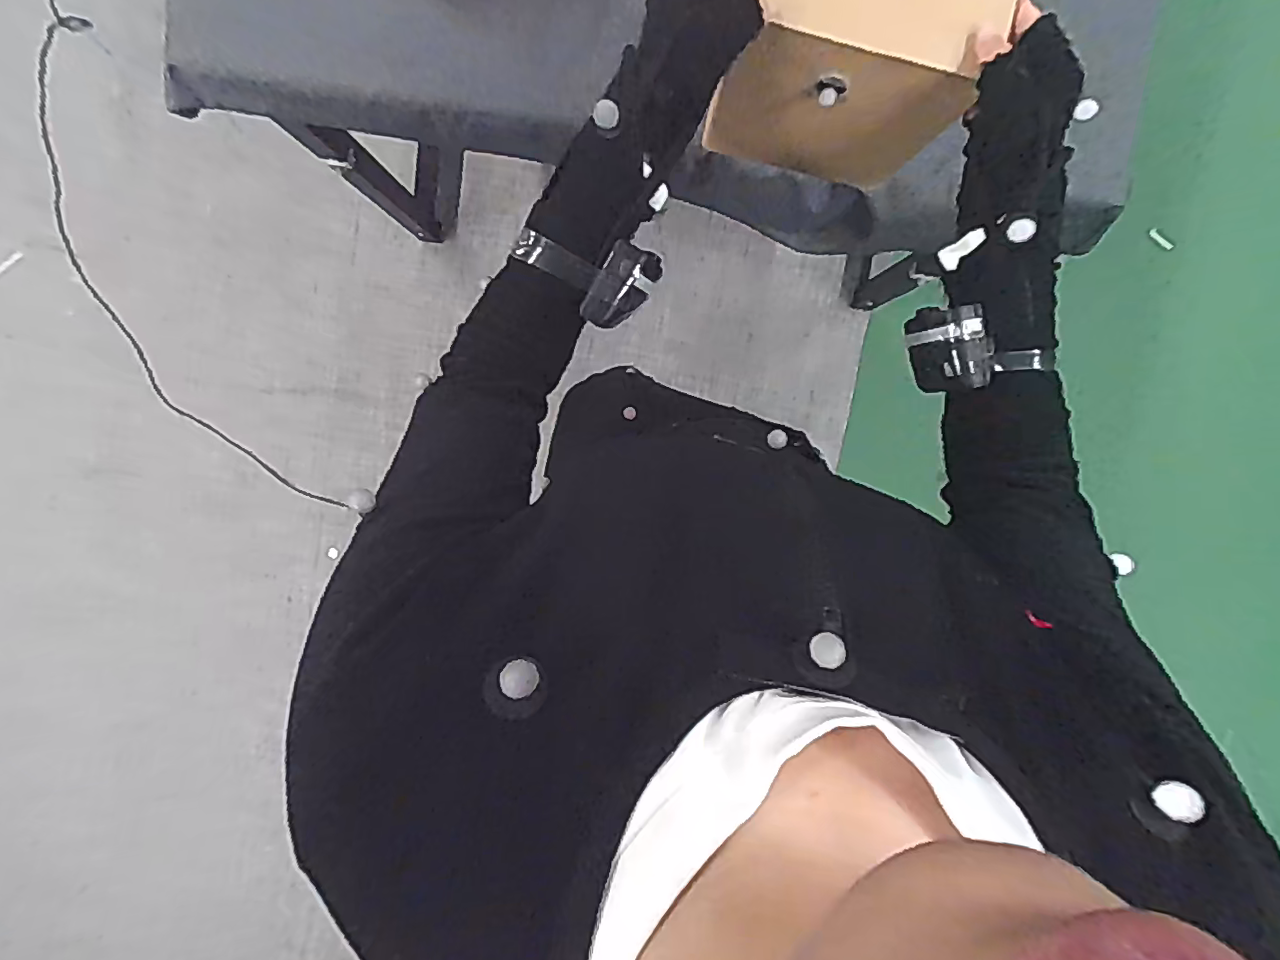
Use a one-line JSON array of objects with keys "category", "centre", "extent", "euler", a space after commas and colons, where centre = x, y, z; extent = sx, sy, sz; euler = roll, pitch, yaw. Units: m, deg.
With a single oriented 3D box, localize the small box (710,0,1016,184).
[{"category": "small box", "centre": [0.165, -0.367, 0.429], "extent": [0.179, 0.176, 0.168], "euler": [11, 95, -6]}]
